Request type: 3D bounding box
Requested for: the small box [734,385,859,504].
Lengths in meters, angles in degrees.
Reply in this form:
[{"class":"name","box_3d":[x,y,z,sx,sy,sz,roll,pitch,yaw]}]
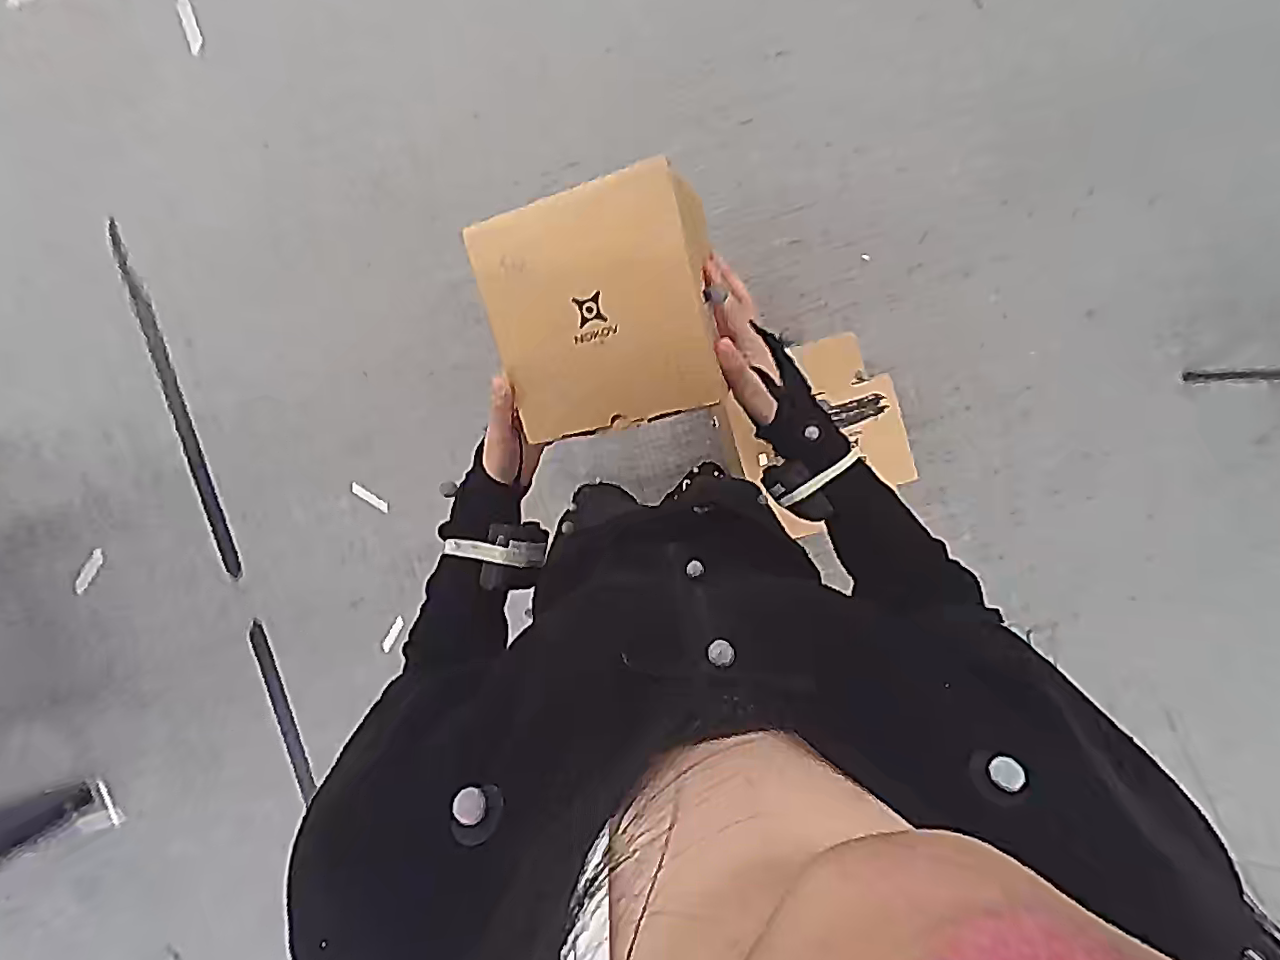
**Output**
[{"class":"small box","box_3d":[0.306,-0.068,1.098,0.168,0.176,0.179,-29,91,5]}]
